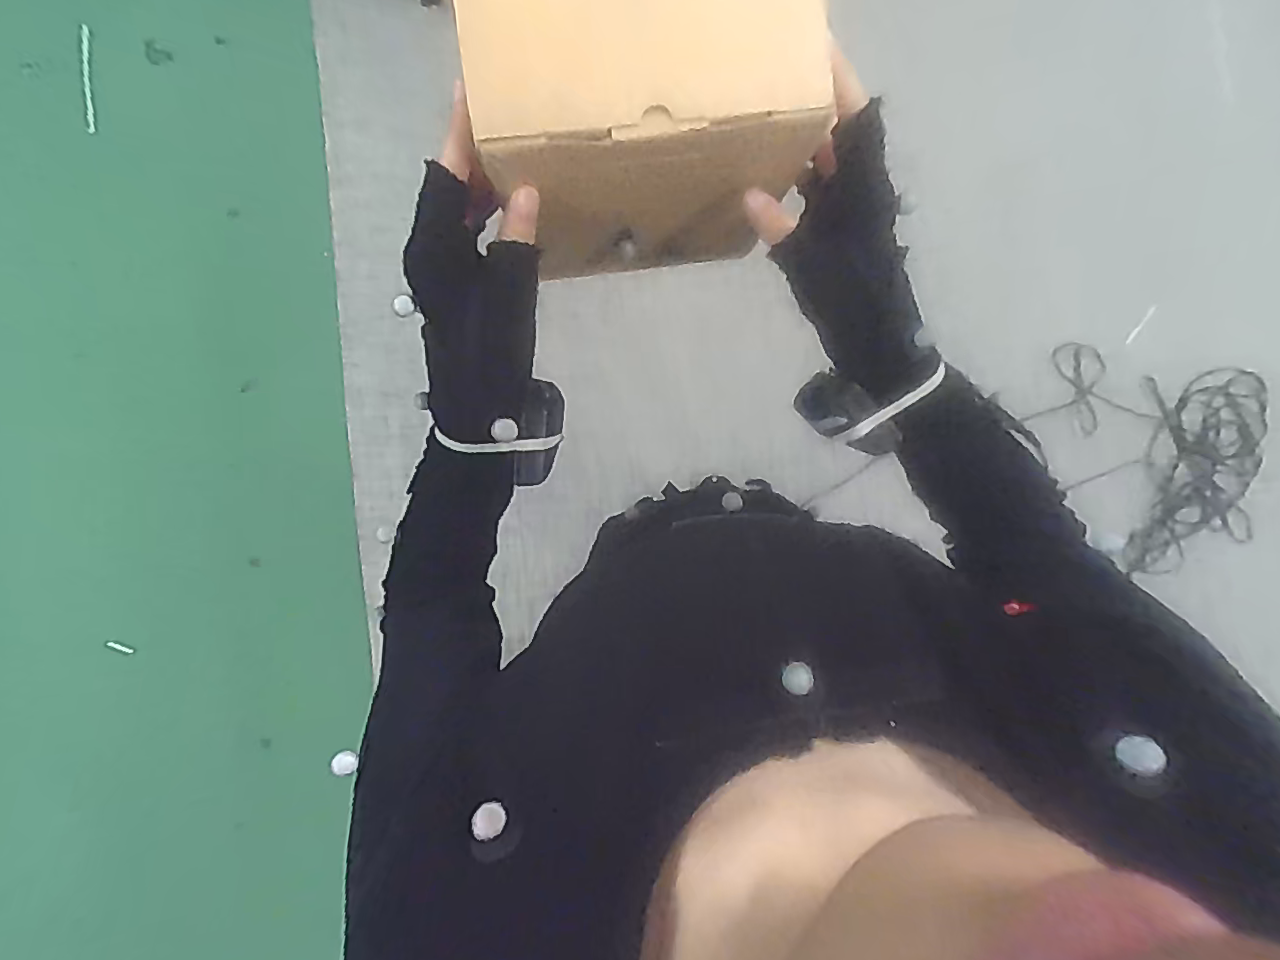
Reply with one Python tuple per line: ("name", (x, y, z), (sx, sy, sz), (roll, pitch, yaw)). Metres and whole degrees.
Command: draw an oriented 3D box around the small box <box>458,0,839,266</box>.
("small box", (-0.006, -0.249, 0.315), (0.168, 0.176, 0.179), (-8, 91, -2))
